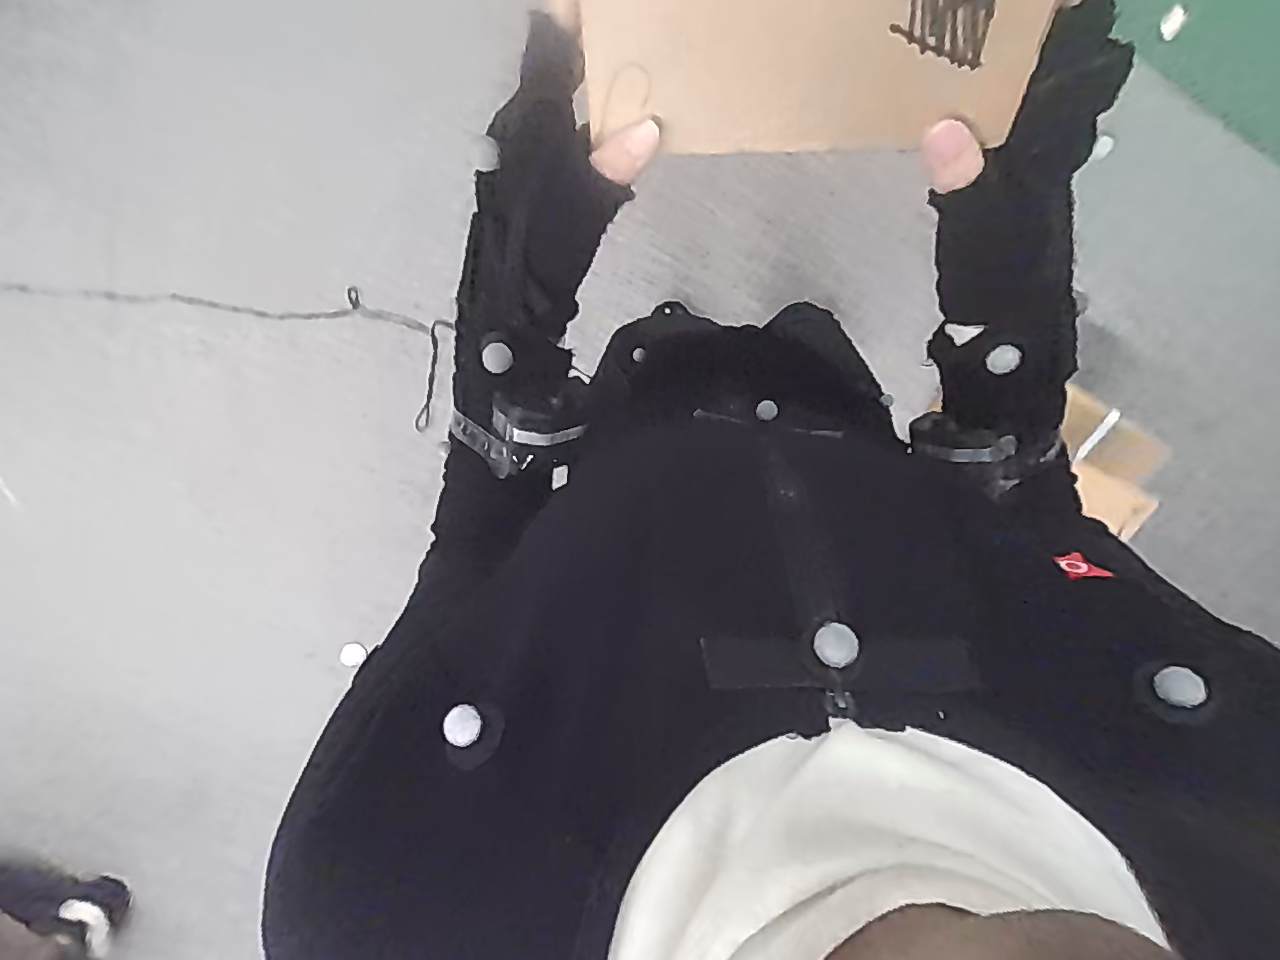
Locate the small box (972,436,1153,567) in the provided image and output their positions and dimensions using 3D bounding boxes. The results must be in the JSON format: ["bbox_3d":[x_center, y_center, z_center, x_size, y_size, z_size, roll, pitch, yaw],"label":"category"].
[{"bbox_3d":[0.788,0.030,1.035,0.179,0.176,0.168,25,110,-5],"label":"small box"}]

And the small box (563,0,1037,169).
[{"bbox_3d":[0.060,-0.254,0.235,0.179,0.176,0.168,0,136,5],"label":"small box"}]
